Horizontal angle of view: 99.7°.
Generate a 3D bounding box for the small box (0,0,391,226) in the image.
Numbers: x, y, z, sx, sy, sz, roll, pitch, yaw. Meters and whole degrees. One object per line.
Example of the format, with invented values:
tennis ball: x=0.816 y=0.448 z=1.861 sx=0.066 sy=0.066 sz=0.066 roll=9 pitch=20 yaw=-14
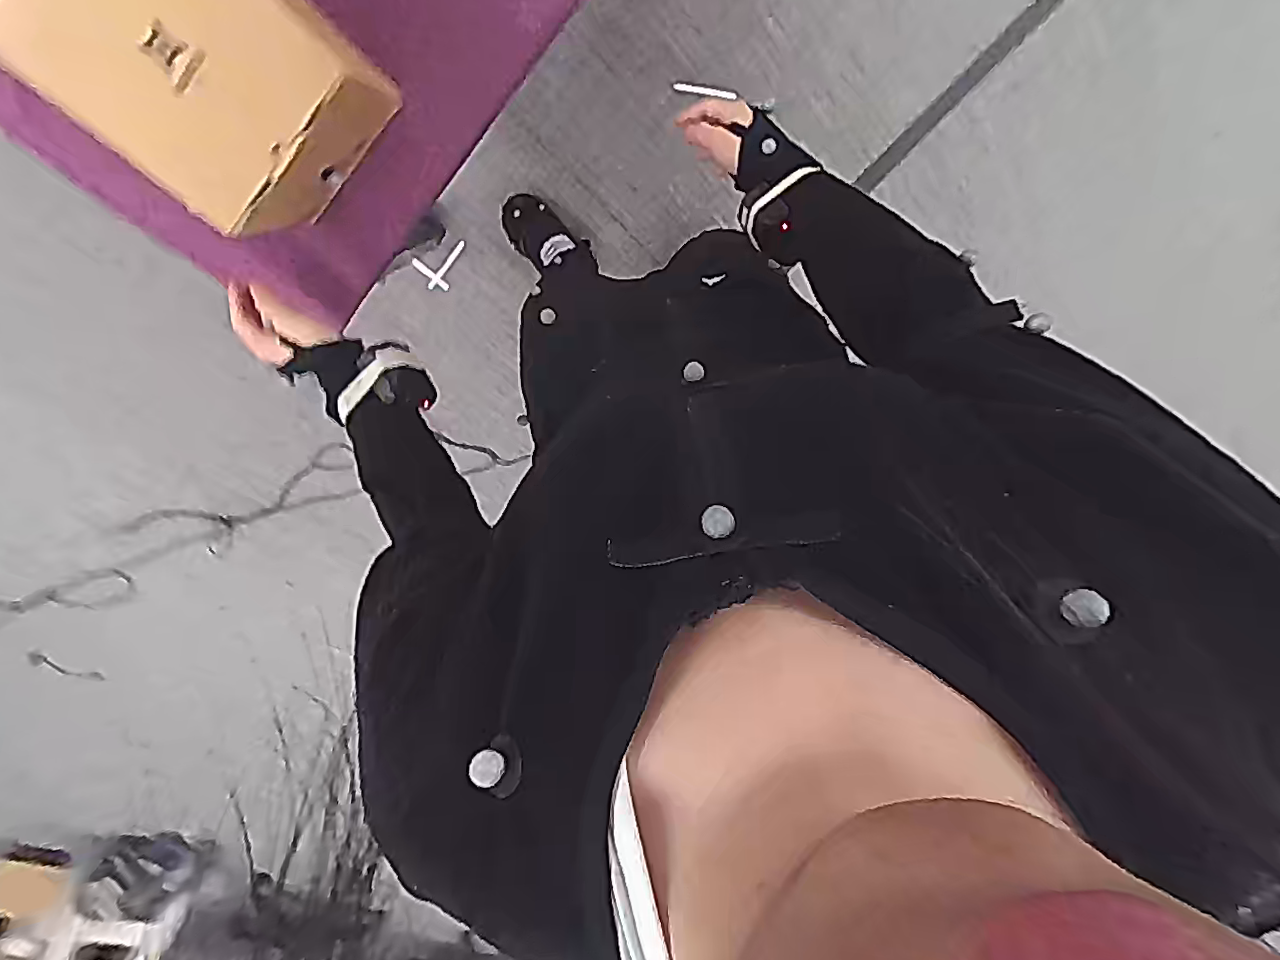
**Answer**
small box: x=-0.348 y=-0.344 z=0.455 sx=0.168 sy=0.176 sz=0.179 roll=-43 pitch=117 yaw=15
